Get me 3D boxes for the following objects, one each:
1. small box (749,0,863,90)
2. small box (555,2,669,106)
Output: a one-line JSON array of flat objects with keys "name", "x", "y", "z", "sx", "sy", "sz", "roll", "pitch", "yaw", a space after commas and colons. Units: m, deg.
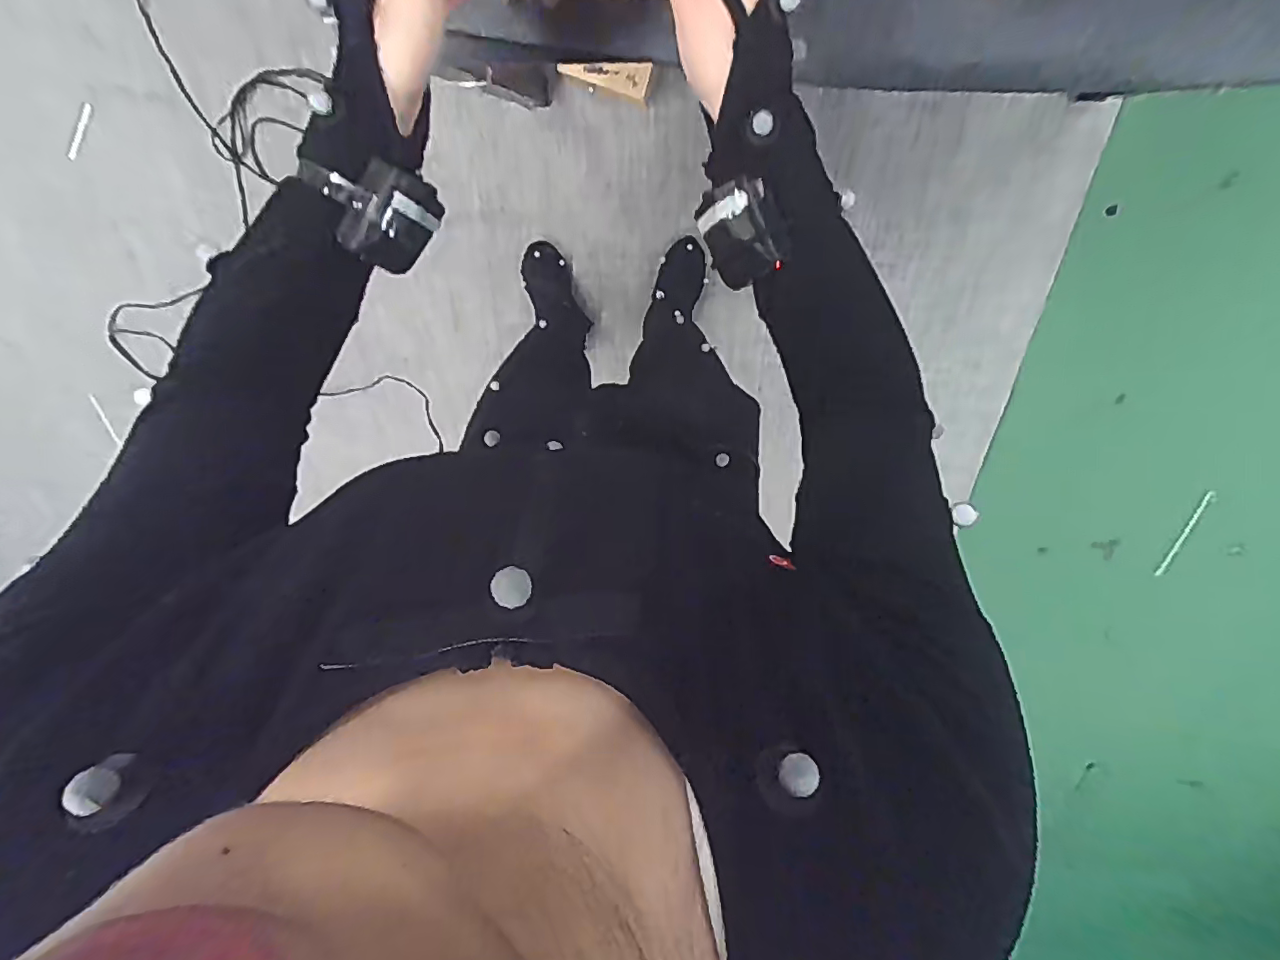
[{"name": "small box", "x": 0.295, "y": -0.824, "z": 0.985, "sx": 0.168, "sy": 0.176, "sz": 0.179, "roll": -1, "pitch": 120, "yaw": 3}, {"name": "small box", "x": -0.049, "y": -0.826, "z": 1.001, "sx": 0.168, "sy": 0.176, "sz": 0.179, "roll": 16, "pitch": 120, "yaw": -7}]
